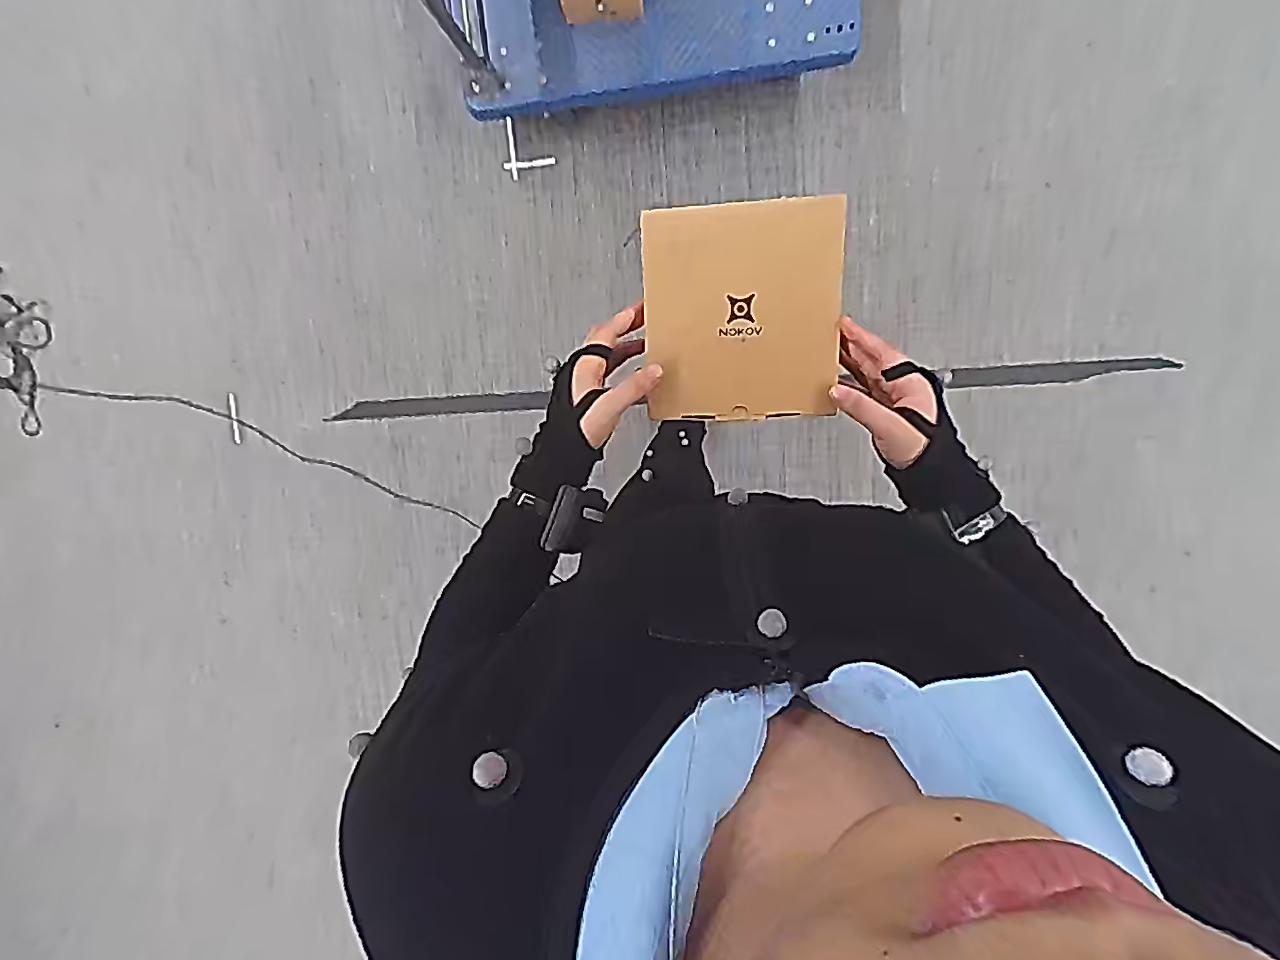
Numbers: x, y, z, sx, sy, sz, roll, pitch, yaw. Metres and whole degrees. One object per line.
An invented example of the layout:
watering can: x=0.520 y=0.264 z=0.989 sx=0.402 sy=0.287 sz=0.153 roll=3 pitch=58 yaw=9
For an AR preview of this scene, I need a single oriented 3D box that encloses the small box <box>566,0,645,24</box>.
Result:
small box: x=-0.078 y=-1.057 z=1.068 sx=0.168 sy=0.176 sz=0.179 roll=-1 pitch=98 yaw=5
